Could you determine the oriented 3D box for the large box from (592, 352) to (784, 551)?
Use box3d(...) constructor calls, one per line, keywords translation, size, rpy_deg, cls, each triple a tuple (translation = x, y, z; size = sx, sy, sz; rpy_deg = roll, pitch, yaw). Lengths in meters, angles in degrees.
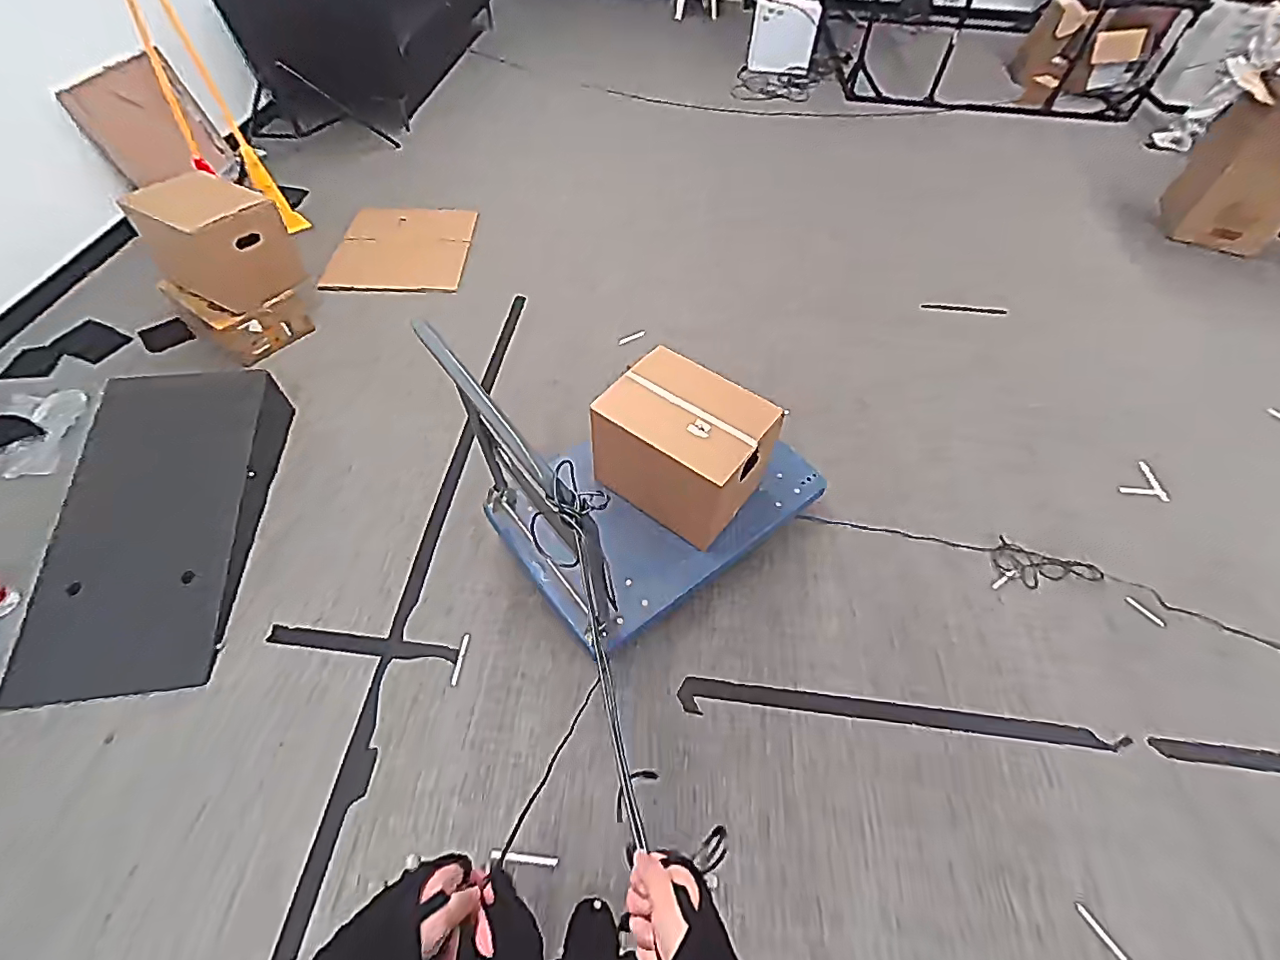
box3d(translation=(0.116, -0.081, 1.495), size=(0.408, 0.320, 0.320), rpy_deg=(33, 59, 19), cls="large box")
